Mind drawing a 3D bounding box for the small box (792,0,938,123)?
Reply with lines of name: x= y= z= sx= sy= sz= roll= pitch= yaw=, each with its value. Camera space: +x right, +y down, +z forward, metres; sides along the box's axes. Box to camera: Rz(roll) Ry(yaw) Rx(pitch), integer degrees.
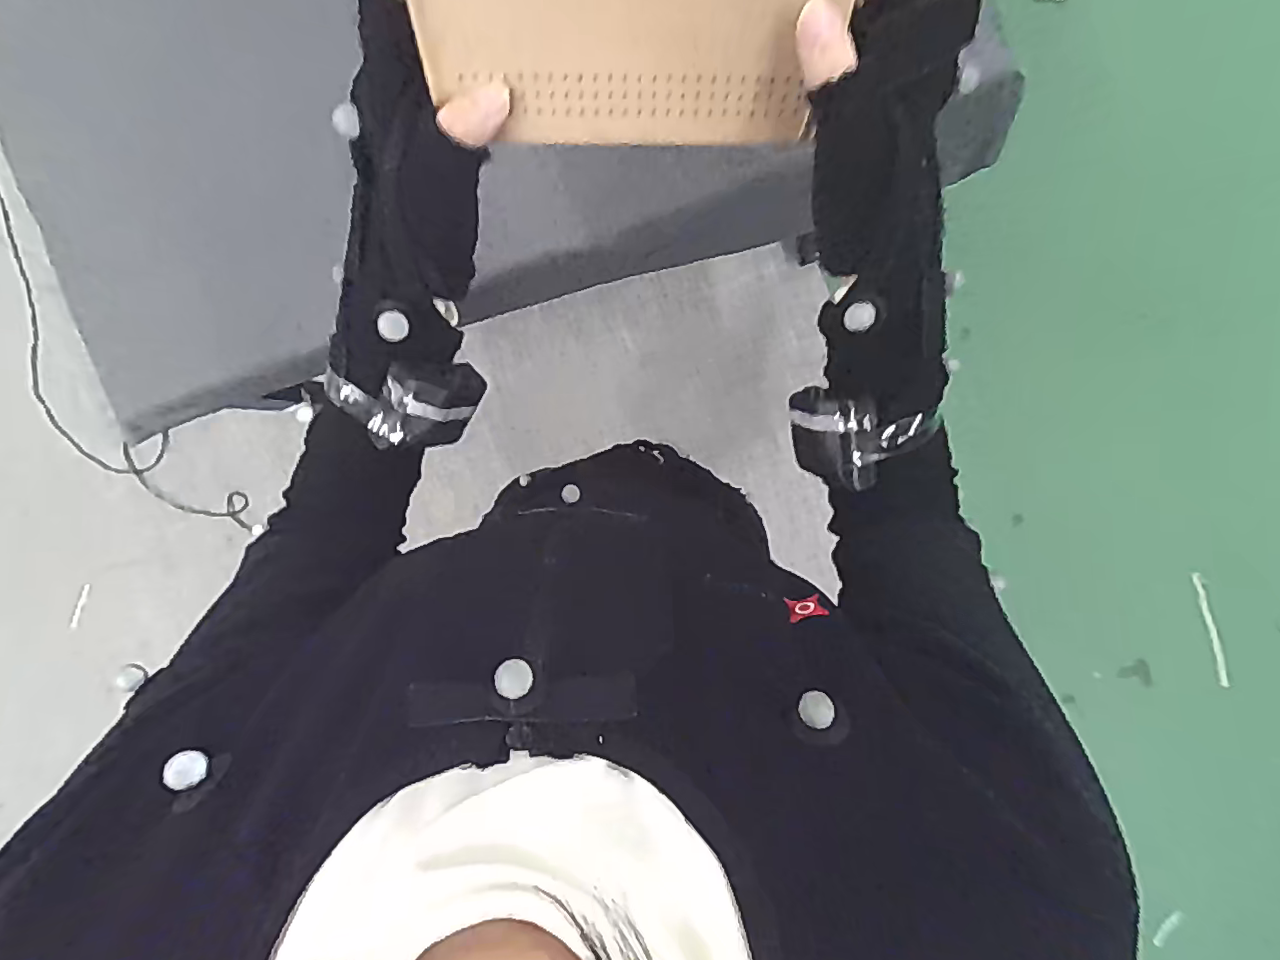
small box: x=0.199 y=-0.520 z=0.570 sx=0.168 sy=0.176 sz=0.179 roll=-23 pitch=92 yaw=4
